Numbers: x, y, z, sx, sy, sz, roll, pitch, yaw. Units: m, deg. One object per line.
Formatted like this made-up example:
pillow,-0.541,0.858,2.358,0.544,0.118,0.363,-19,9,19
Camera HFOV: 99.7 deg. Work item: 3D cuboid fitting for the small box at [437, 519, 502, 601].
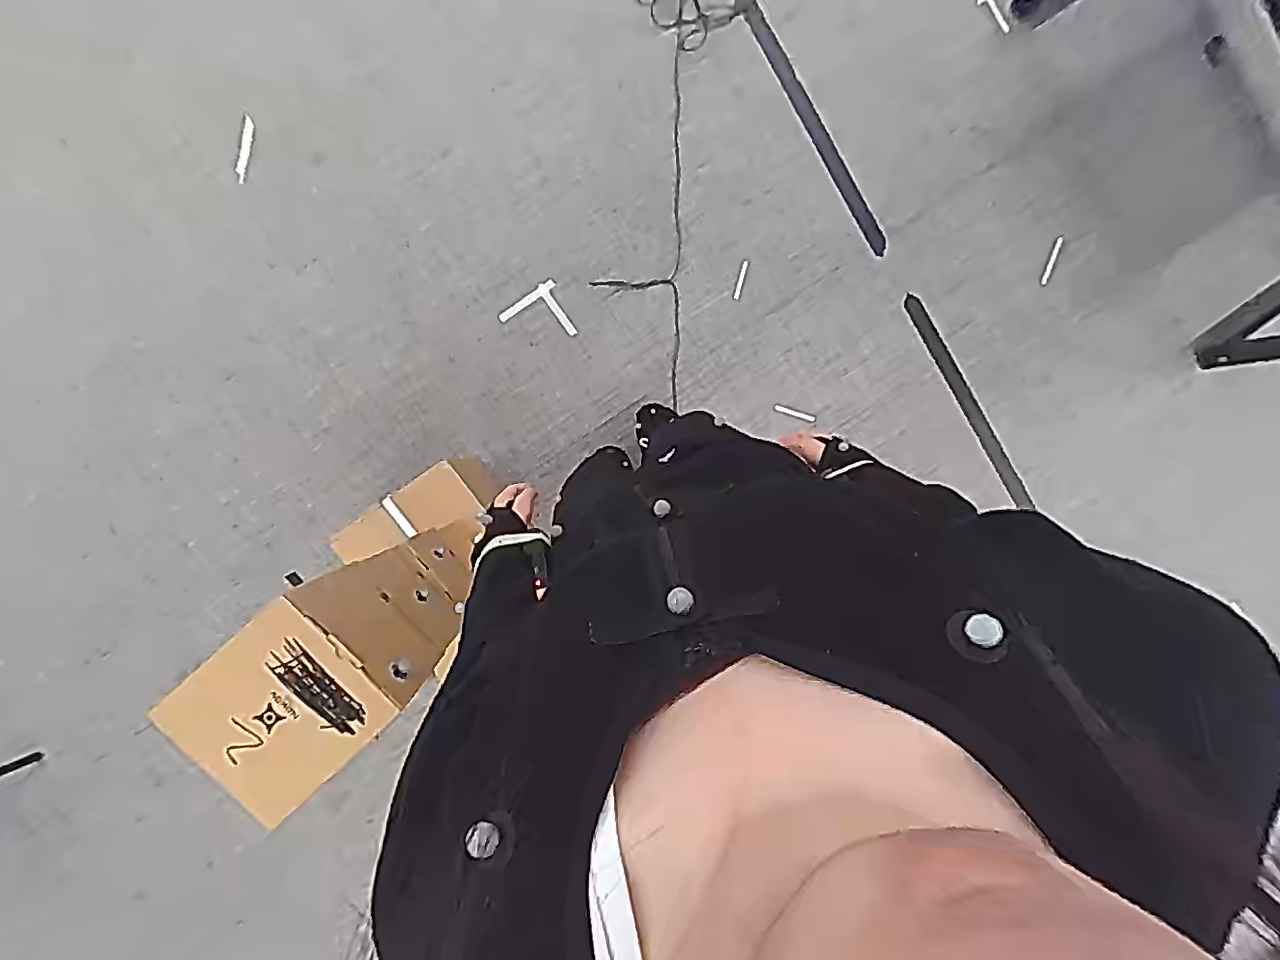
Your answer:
small box,-0.404,0.199,1.095,0.179,0.176,0.168,-37,96,-2

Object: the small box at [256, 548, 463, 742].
small box,-0.376,0.217,0.769,0.179,0.176,0.168,-42,94,-2

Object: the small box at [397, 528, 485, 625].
small box,-0.389,0.202,0.933,0.179,0.176,0.168,-38,95,-1
